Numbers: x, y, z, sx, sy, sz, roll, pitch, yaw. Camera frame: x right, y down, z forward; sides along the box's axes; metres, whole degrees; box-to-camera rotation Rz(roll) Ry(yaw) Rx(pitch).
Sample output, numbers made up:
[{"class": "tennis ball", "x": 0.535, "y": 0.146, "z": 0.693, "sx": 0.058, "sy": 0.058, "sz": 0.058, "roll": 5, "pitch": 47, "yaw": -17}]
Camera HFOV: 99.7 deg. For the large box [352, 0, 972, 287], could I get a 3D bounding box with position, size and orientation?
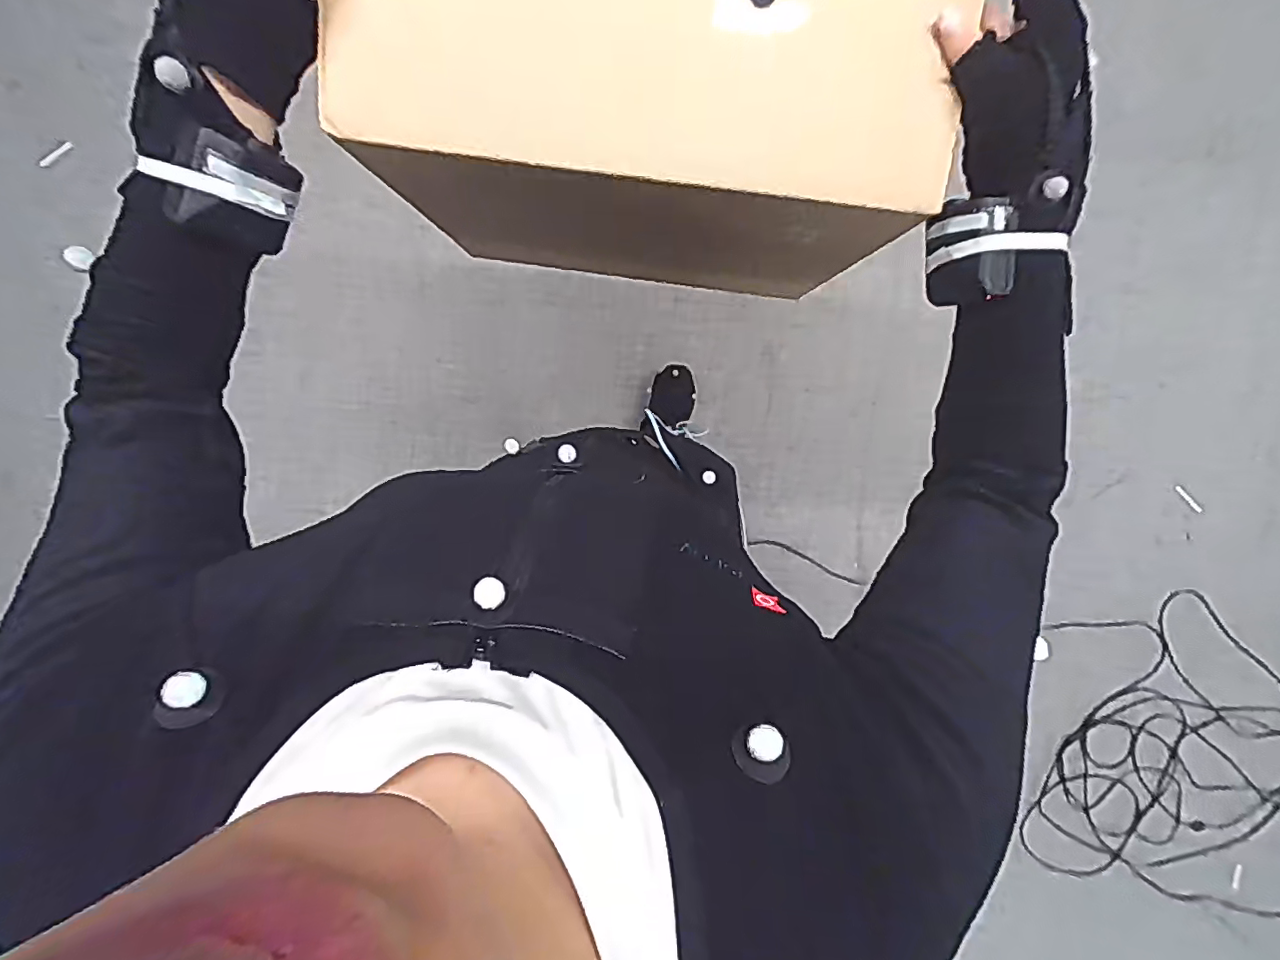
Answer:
[{"class": "large box", "x": 0.019, "y": -0.381, "z": 0.488, "sx": 0.408, "sy": 0.320, "sz": 0.320, "roll": 7, "pitch": 99, "yaw": -1}]
